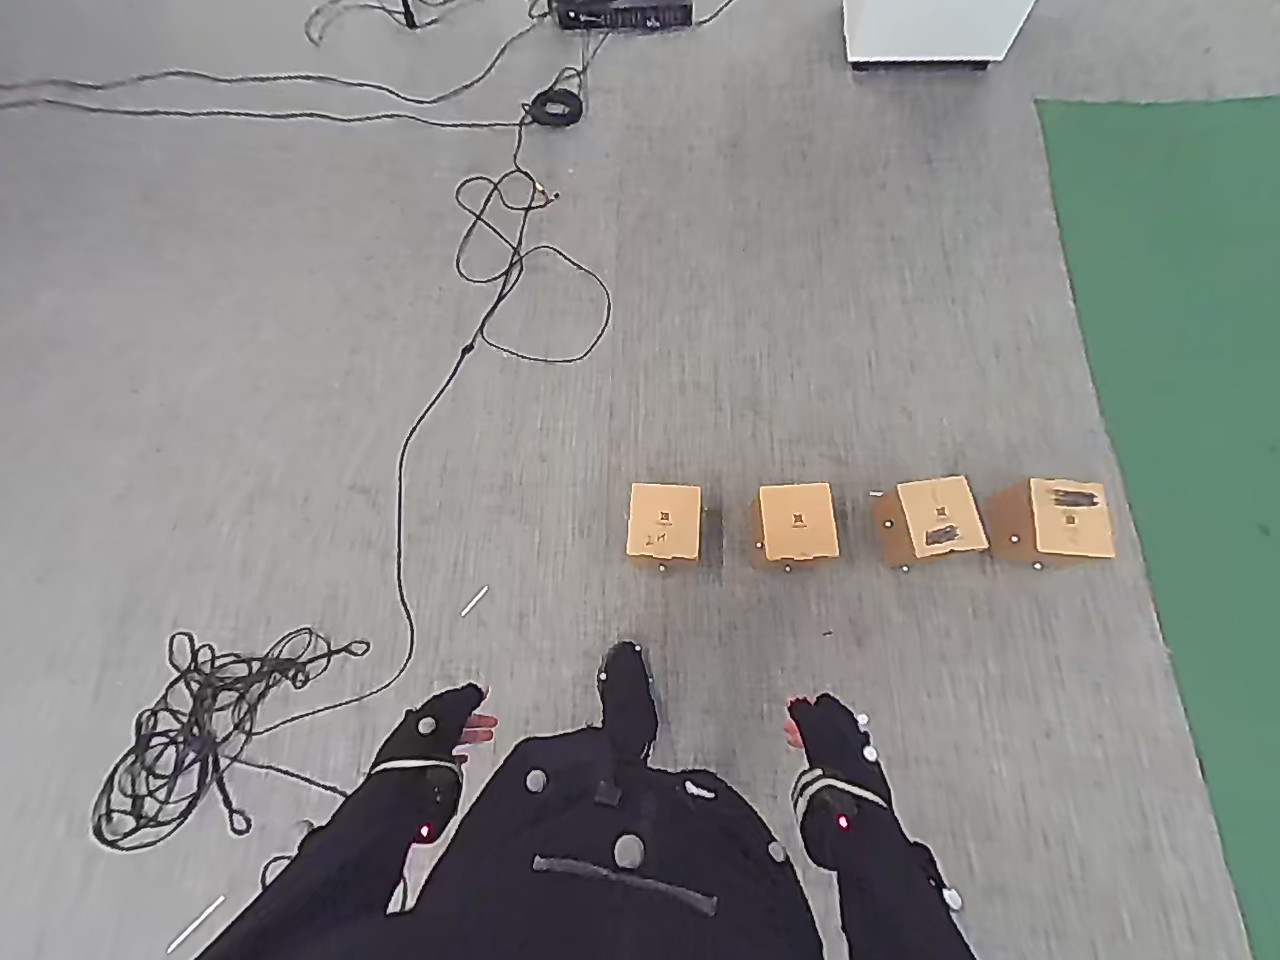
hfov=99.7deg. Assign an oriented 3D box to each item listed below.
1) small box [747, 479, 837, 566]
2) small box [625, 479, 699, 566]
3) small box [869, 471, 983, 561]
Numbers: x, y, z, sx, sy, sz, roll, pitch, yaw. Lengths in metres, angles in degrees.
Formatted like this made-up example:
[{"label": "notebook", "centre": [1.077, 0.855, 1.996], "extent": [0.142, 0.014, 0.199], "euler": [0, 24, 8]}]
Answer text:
[{"label": "small box", "centre": [0.361, 0.107, 1.315], "extent": [0.168, 0.176, 0.179], "euler": [-4, 73, 2]}, {"label": "small box", "centre": [0.056, 0.108, 1.328], "extent": [0.168, 0.176, 0.179], "euler": [3, 73, 5]}, {"label": "small box", "centre": [0.678, 0.094, 1.304], "extent": [0.168, 0.176, 0.179], "euler": [-7, 72, 0]}]
